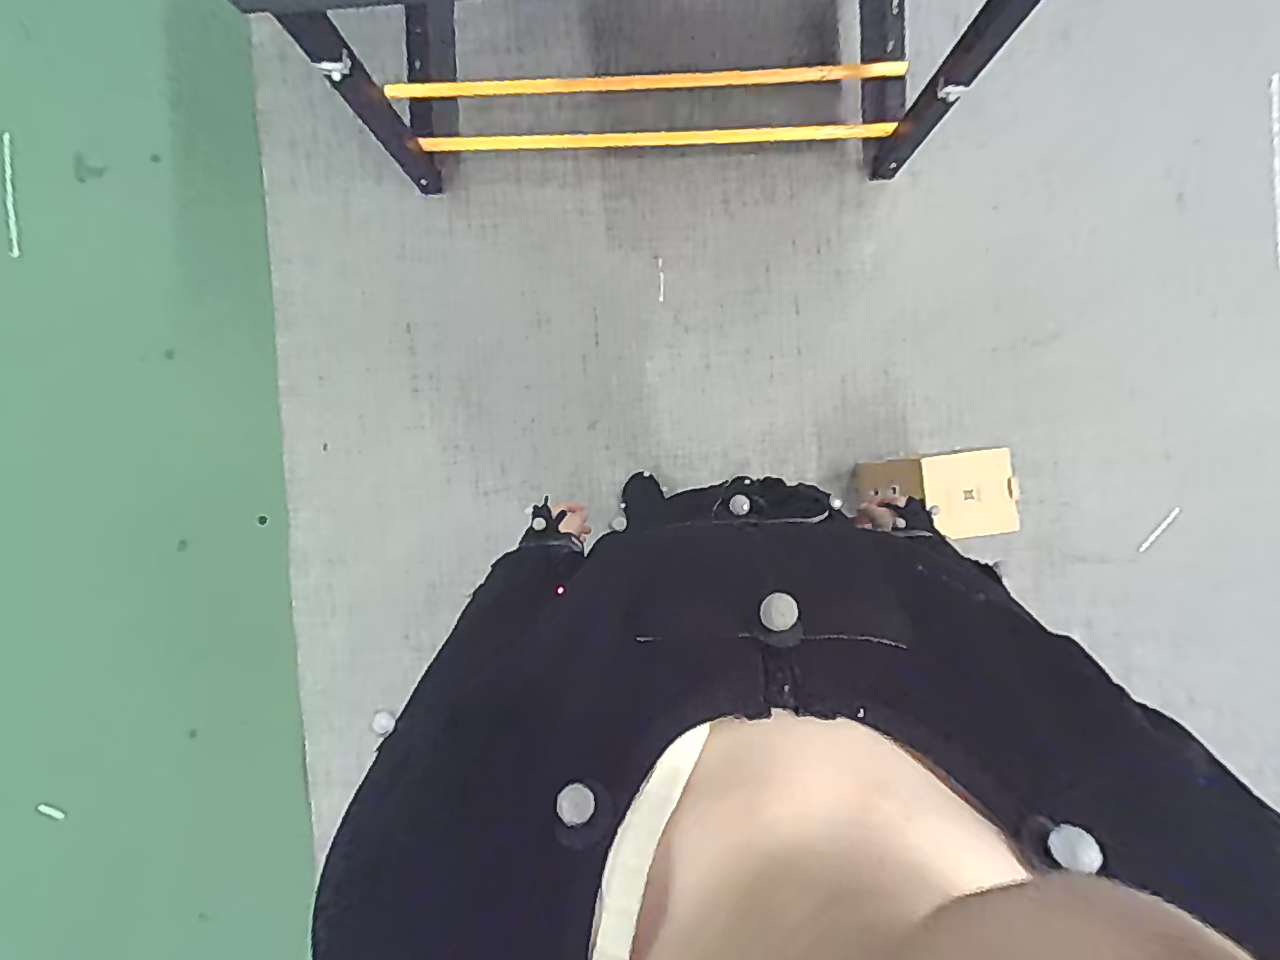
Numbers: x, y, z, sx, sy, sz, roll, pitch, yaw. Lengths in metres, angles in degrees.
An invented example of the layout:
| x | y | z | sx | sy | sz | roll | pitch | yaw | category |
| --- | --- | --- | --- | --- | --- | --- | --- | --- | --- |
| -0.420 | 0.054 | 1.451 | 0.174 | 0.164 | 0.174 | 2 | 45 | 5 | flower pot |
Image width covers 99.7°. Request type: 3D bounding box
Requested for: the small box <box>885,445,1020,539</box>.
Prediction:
| x | y | z | sx | sy | sz | roll | pitch | yaw | category |
| --- | --- | --- | --- | --- | --- | --- | --- | --- | --- |
| 0.635 | 0.021 | 1.116 | 0.179 | 0.176 | 0.168 | -9 | 90 | 2 | small box |

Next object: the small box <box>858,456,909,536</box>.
| x | y | z | sx | sy | sz | roll | pitch | yaw | category |
| --- | --- | --- | --- | --- | --- | --- | --- | --- | --- |
| 0.633 | 0.030 | 1.279 | 0.168 | 0.176 | 0.179 | -8 | 90 | 1 | small box |
